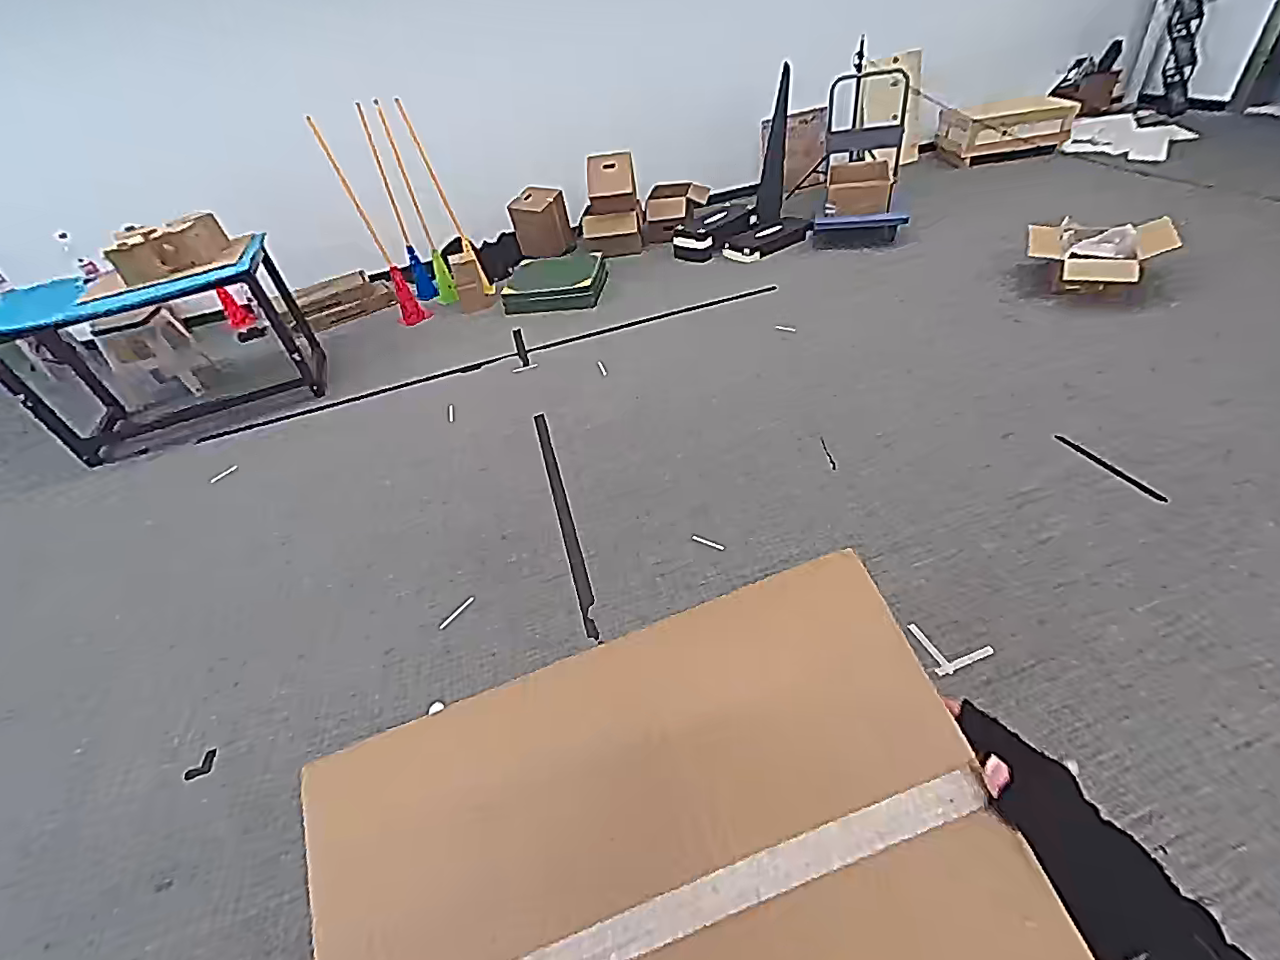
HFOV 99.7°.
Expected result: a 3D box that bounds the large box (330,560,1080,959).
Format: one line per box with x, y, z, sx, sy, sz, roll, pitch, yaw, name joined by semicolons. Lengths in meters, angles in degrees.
0.038;0.319;0.450;0.408;0.320;0.320;-22;65;-2;large box
